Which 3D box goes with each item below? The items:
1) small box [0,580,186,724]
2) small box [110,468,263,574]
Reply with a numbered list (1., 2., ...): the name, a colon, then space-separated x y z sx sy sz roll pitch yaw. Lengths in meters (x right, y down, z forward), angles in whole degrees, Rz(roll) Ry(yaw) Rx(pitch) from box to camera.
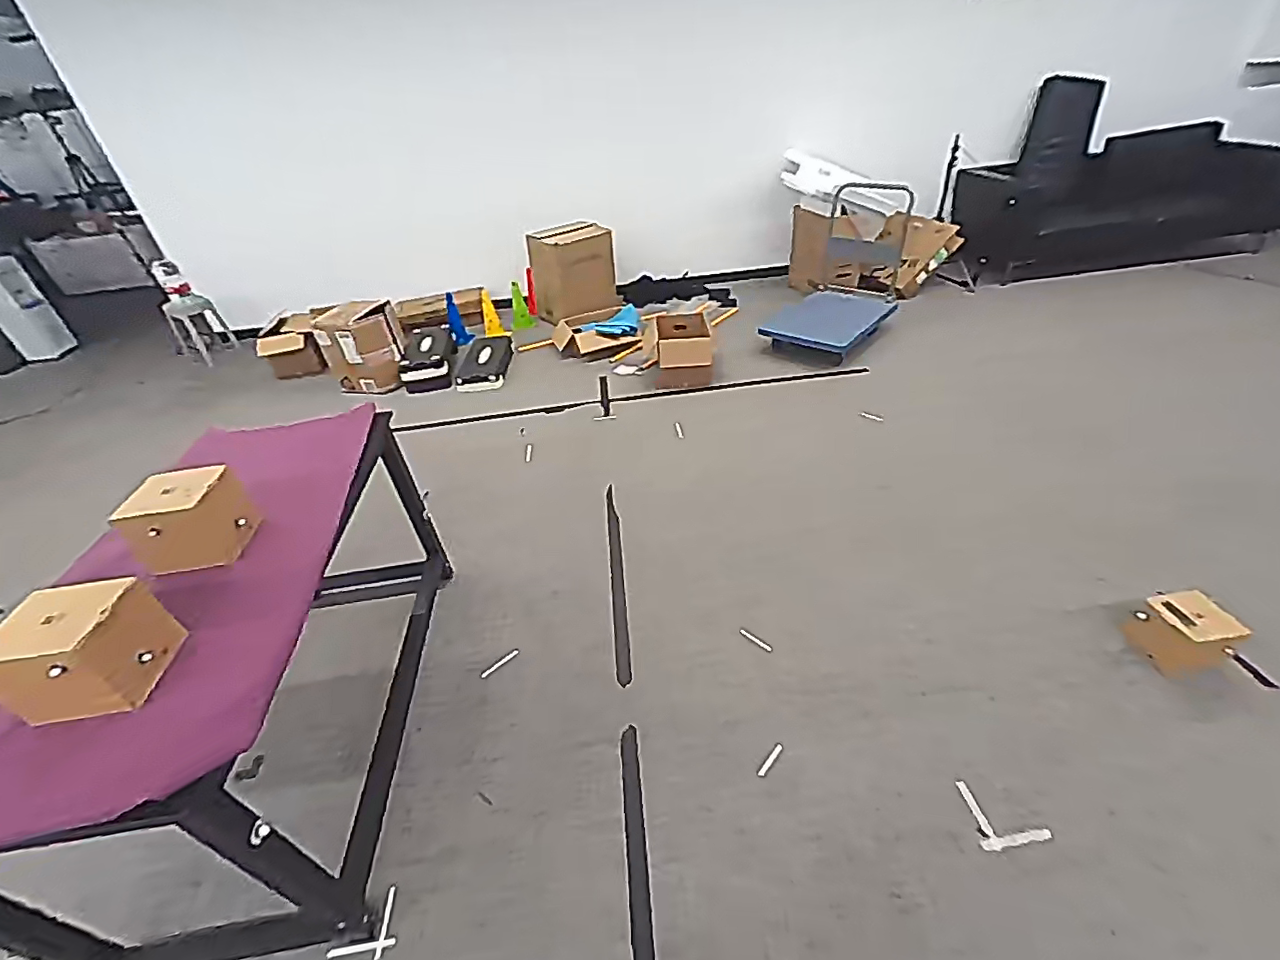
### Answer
1. small box: -0.970 0.304 0.951 0.179 0.176 0.168 -8 36 -4
2. small box: -1.018 0.097 1.234 0.179 0.176 0.168 -8 37 -3
